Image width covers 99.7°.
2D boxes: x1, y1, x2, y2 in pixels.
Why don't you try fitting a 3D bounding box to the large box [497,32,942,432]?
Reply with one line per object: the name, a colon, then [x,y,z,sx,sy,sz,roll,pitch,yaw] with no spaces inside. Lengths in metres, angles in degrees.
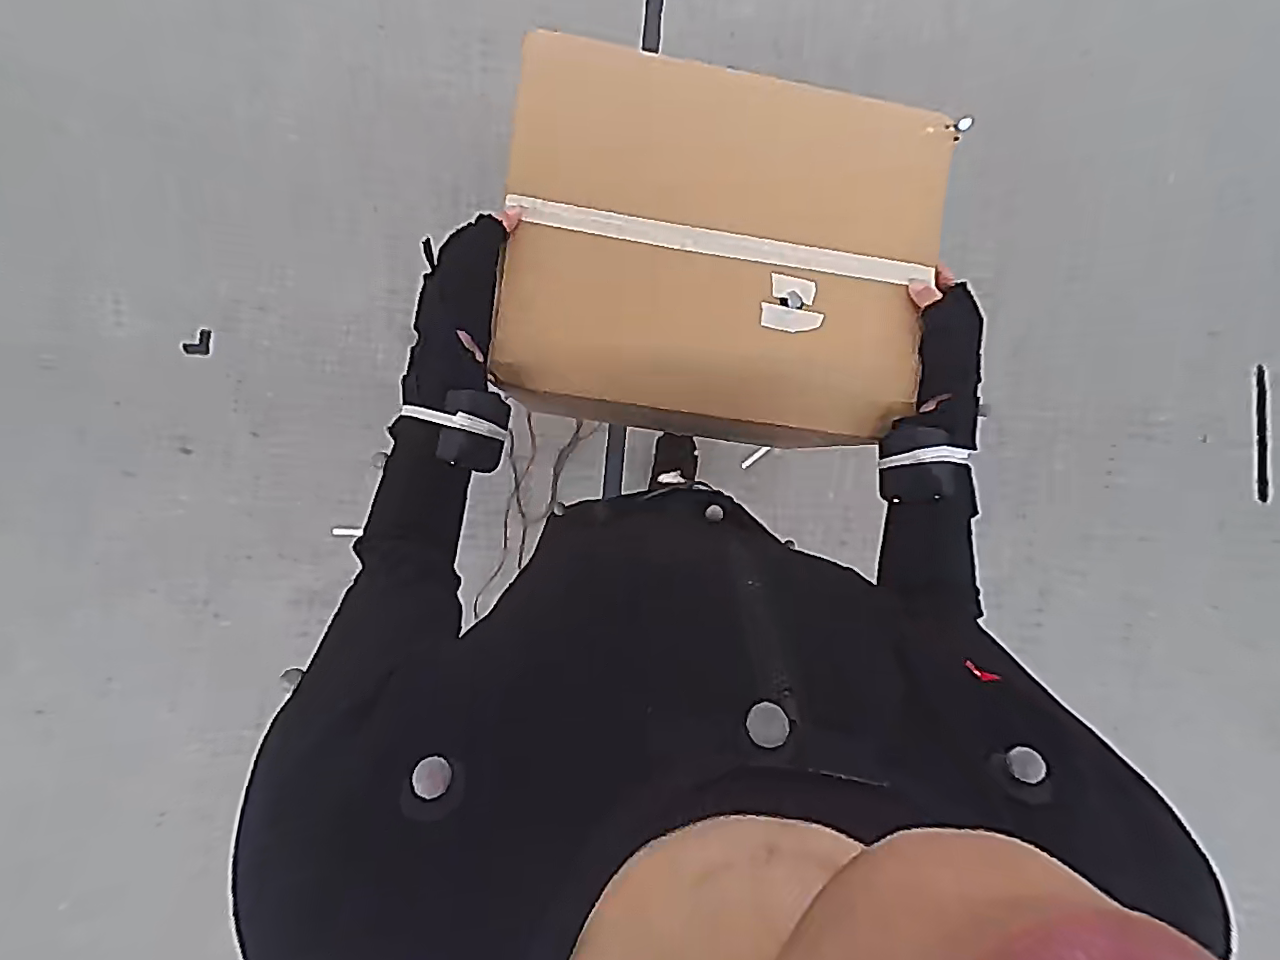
large box: [0.064,-0.238,0.658,0.408,0.320,0.320,8,93,-6]
